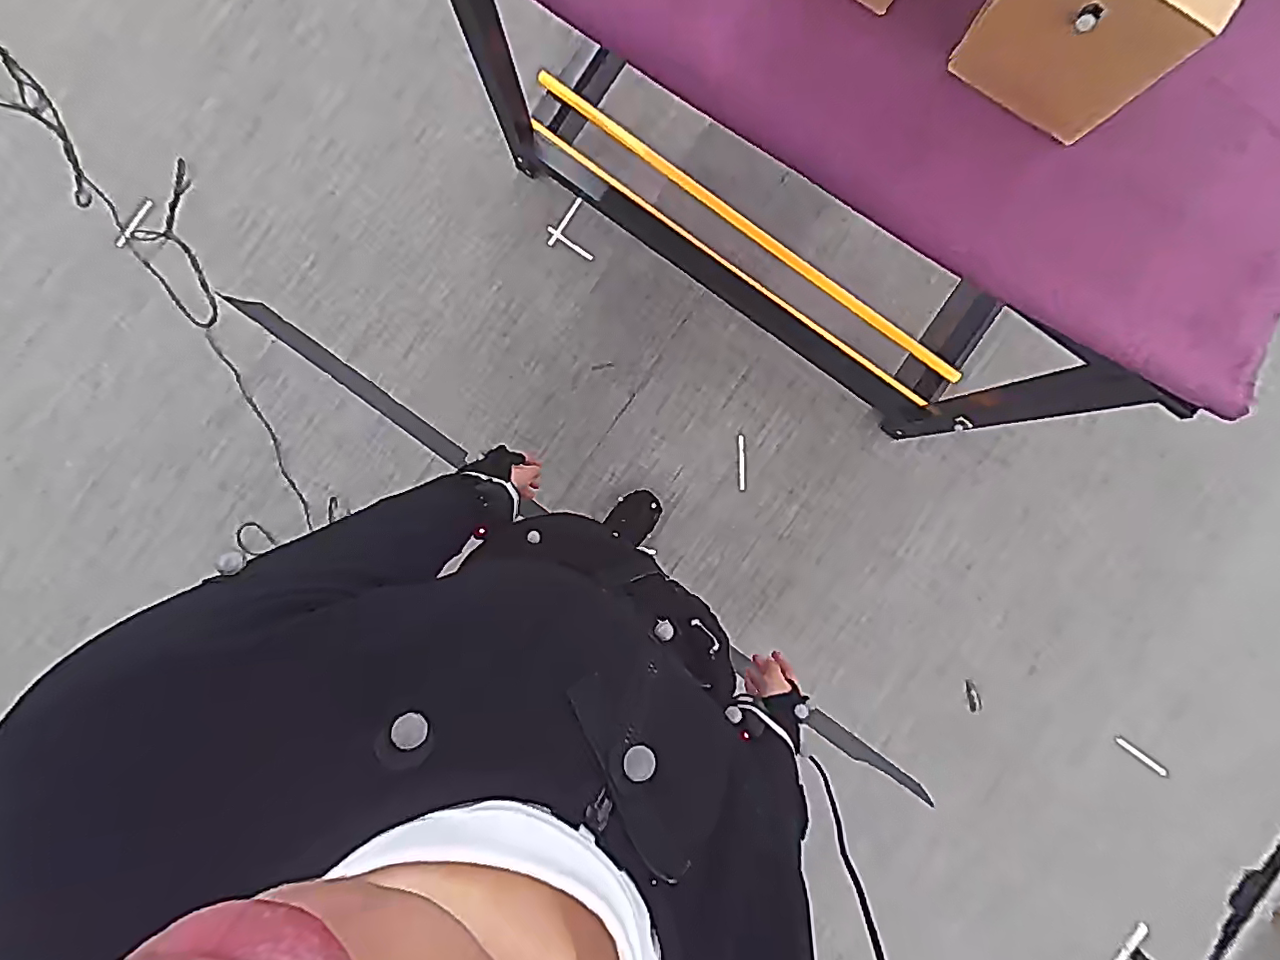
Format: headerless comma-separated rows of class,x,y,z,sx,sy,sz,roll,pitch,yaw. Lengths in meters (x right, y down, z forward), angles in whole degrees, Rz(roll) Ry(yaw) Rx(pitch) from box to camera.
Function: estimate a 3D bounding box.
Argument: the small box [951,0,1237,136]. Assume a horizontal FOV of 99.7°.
small box,0.477,-0.504,0.560,0.179,0.176,0.168,33,90,0
